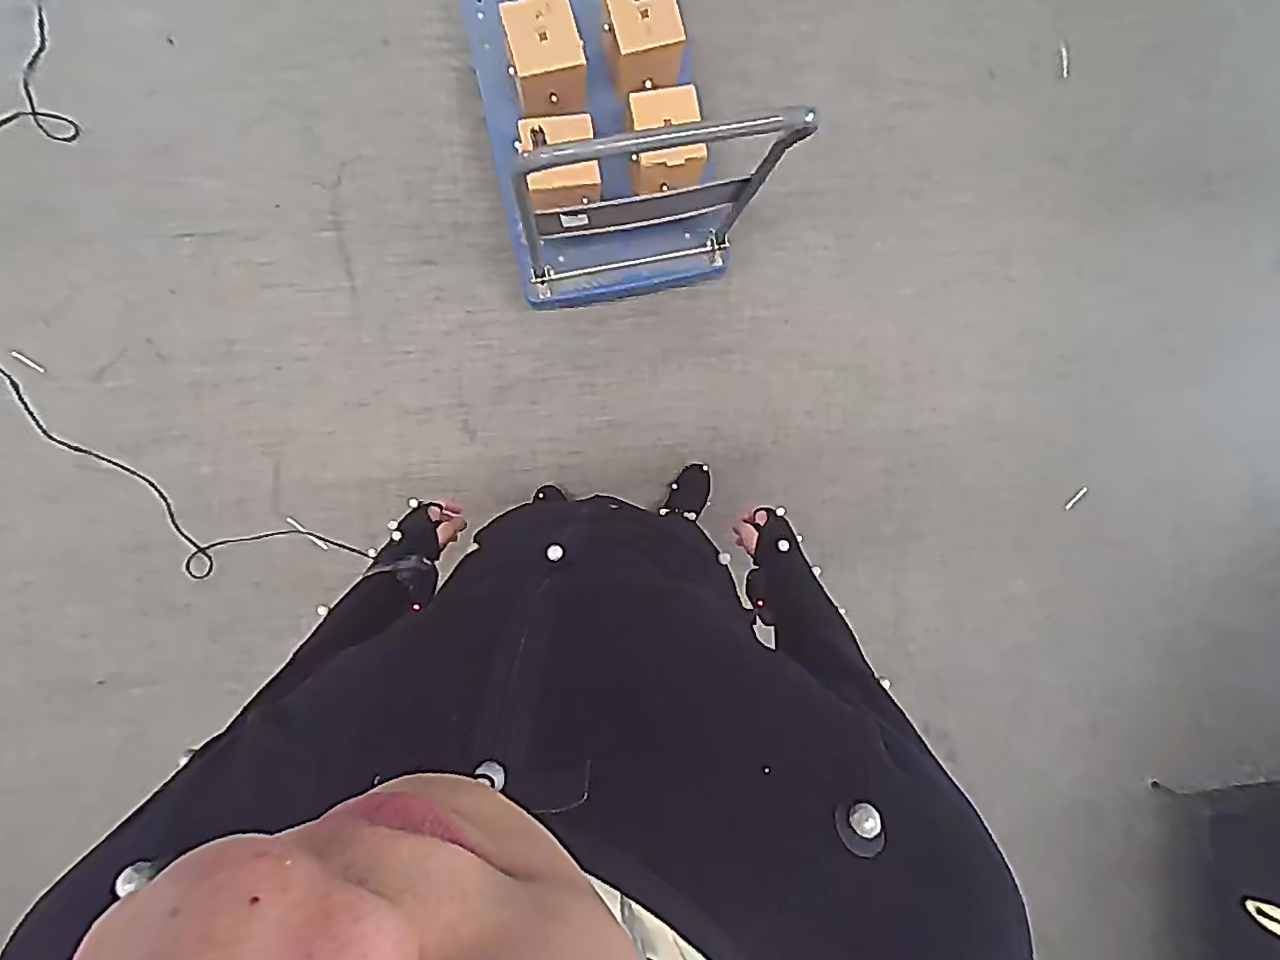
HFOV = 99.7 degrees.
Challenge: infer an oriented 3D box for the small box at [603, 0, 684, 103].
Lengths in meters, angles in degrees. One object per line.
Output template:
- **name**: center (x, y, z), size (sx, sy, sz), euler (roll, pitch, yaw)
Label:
- **small box**: center (0.002, -1.121, 1.389), size (0.168, 0.176, 0.179), euler (-16, 93, -4)

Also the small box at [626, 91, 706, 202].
- **small box**: center (0.061, -0.857, 1.400), size (0.168, 0.176, 0.179), euler (-12, 92, -5)

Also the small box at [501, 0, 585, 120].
- **small box**: center (-0.238, -1.050, 1.370), size (0.168, 0.176, 0.179), euler (-16, 92, -5)
